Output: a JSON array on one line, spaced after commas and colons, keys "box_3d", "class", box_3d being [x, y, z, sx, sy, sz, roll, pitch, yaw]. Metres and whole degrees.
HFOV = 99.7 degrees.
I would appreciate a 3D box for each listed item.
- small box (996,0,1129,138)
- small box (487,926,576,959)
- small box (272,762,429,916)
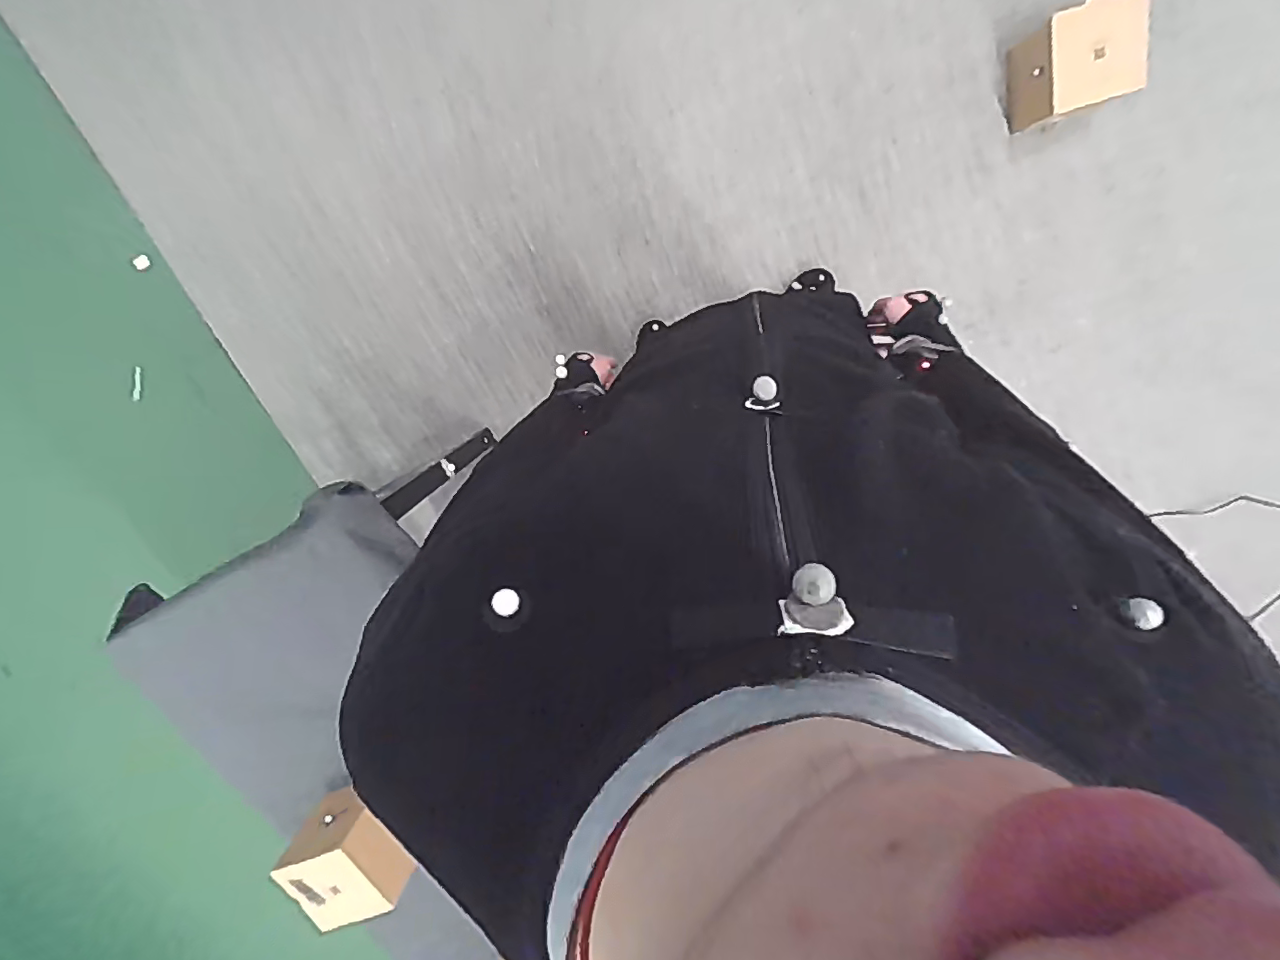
[{"box_3d": [0.881, -0.861, 1.144, 0.168, 0.176, 0.179, -12, 109, 11], "class": "small box"}, {"box_3d": [-0.247, 1.138, 1.195, 0.179, 0.176, 0.168, -27, 105, 14], "class": "small box"}, {"box_3d": [-0.556, 0.699, 1.065, 0.179, 0.176, 0.168, -25, 106, 12], "class": "small box"}]
